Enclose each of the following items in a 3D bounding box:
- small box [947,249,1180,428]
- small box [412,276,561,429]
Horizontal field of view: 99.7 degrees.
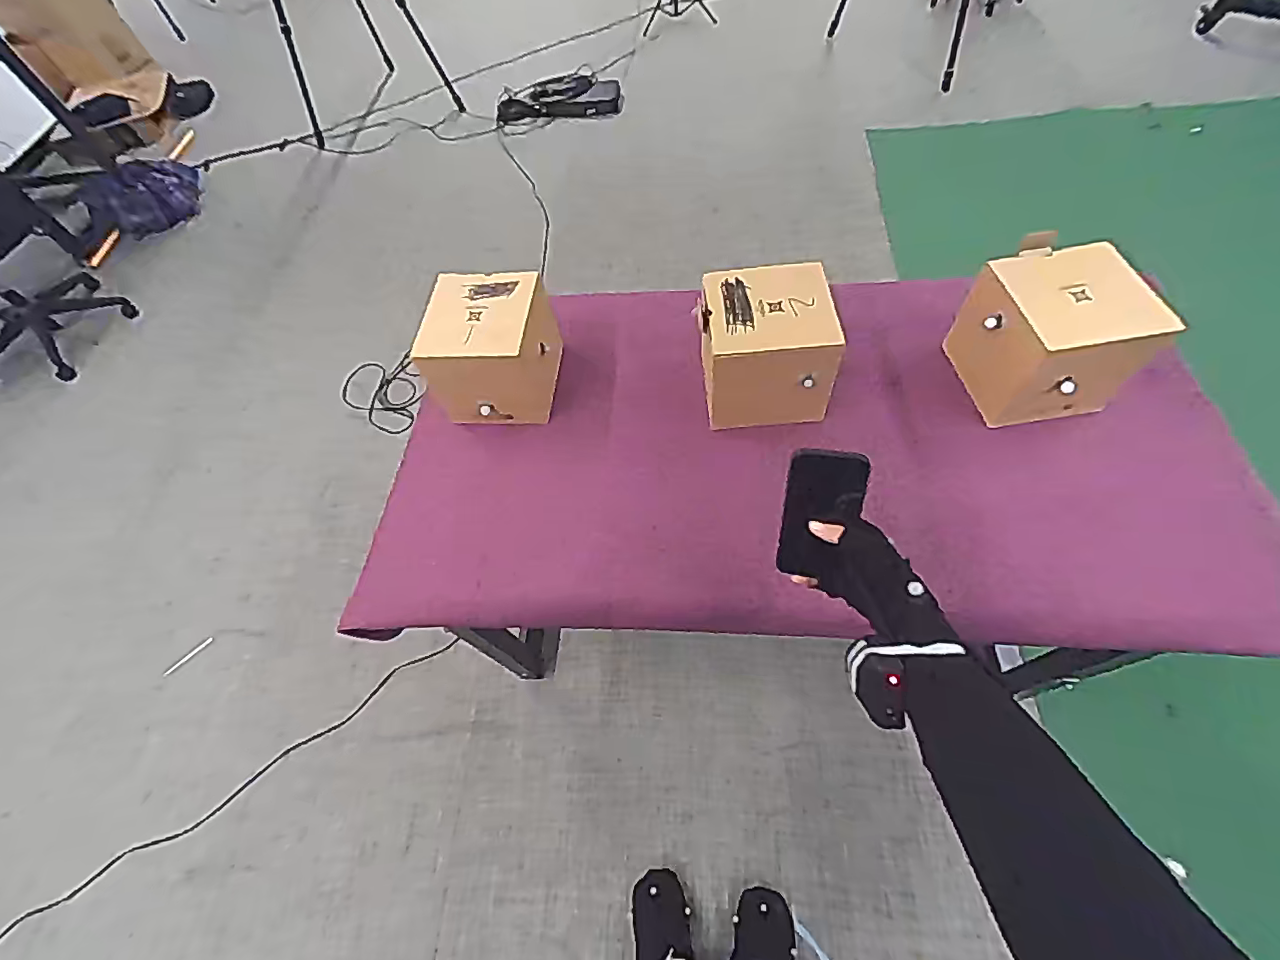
[{"bbox_3d":[0.576,-0.190,0.768,0.168,0.176,0.179,-9,58,2],"label":"small box"},{"bbox_3d":[-0.232,-0.203,0.872,0.168,0.176,0.179,1,61,8],"label":"small box"}]
